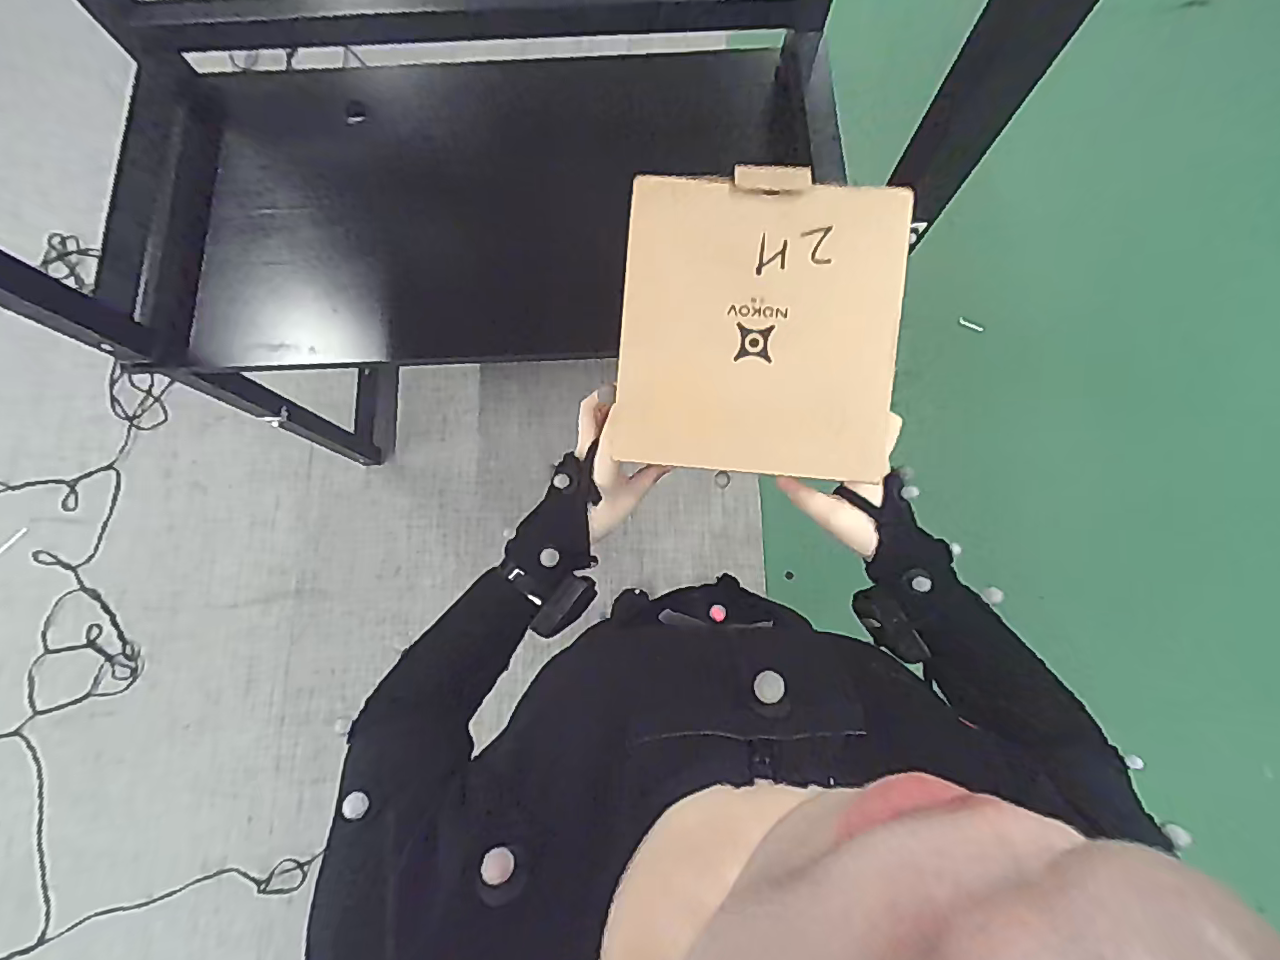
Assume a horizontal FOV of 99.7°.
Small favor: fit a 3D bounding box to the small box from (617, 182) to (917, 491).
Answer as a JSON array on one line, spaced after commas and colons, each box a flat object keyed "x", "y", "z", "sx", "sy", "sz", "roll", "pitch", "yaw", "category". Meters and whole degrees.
[{"x": 0.080, "y": -0.093, "z": 0.410, "sx": 0.168, "sy": 0.176, "sz": 0.179, "roll": 6, "pitch": 94, "yaw": 3, "category": "small box"}]
